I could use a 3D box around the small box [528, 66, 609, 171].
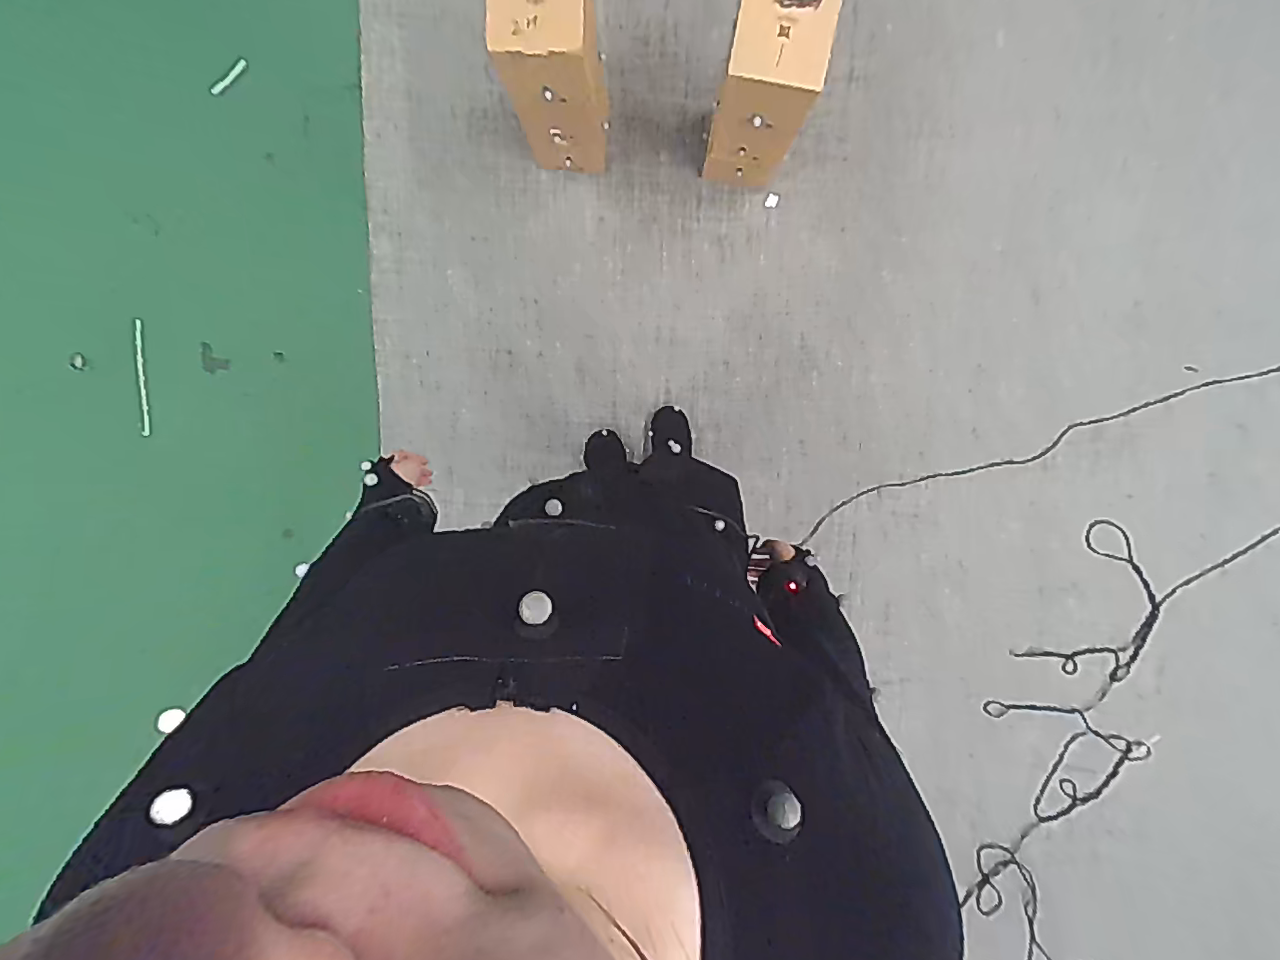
[{"bbox_3d":[-0.167,-0.874,1.307,0.168,0.176,0.179,6,100,0],"label":"small box"}]

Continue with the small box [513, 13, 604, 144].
[{"bbox_3d":[-0.167,-0.847,1.146,0.168,0.176,0.179,3,100,2],"label":"small box"}]

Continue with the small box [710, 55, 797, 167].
[{"bbox_3d":[0.249,-0.800,1.145,0.168,0.176,0.179,9,100,0],"label":"small box"}]

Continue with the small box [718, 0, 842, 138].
[{"bbox_3d":[0.244,-0.766,0.984,0.168,0.176,0.179,11,101,-1],"label":"small box"}]

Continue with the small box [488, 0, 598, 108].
[{"bbox_3d":[-0.169,-0.819,0.984,0.168,0.176,0.179,3,99,2],"label":"small box"}]
